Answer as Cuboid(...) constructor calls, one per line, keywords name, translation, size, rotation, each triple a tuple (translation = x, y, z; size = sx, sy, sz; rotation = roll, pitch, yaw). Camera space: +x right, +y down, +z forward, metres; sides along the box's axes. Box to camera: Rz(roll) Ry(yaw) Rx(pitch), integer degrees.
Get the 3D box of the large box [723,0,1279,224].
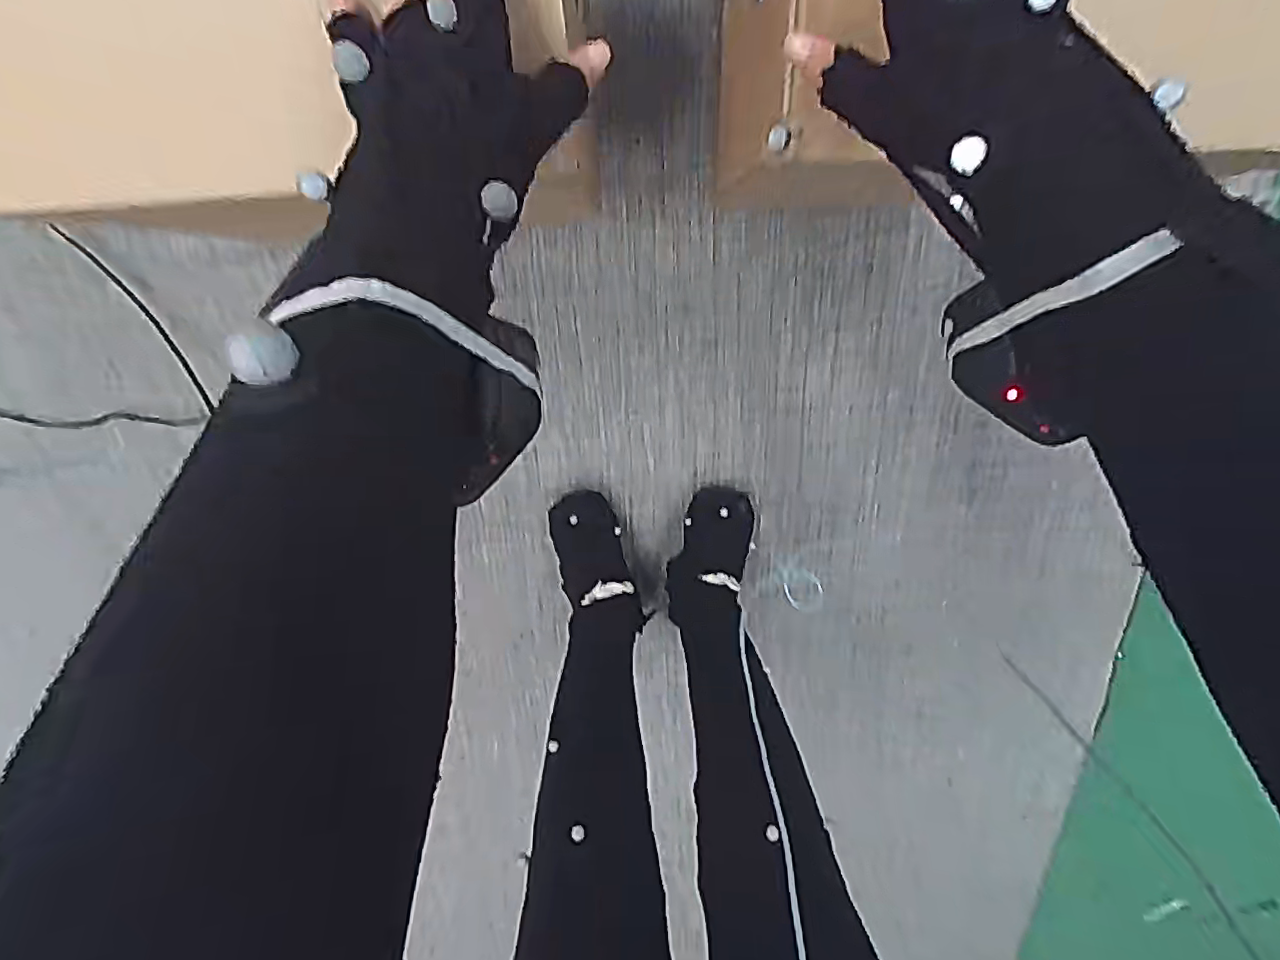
Cuboid(name="large box", translation=(0.295, -0.394, 0.448), size=(0.408, 0.320, 0.320), rotation=(-1, 111, 0))
